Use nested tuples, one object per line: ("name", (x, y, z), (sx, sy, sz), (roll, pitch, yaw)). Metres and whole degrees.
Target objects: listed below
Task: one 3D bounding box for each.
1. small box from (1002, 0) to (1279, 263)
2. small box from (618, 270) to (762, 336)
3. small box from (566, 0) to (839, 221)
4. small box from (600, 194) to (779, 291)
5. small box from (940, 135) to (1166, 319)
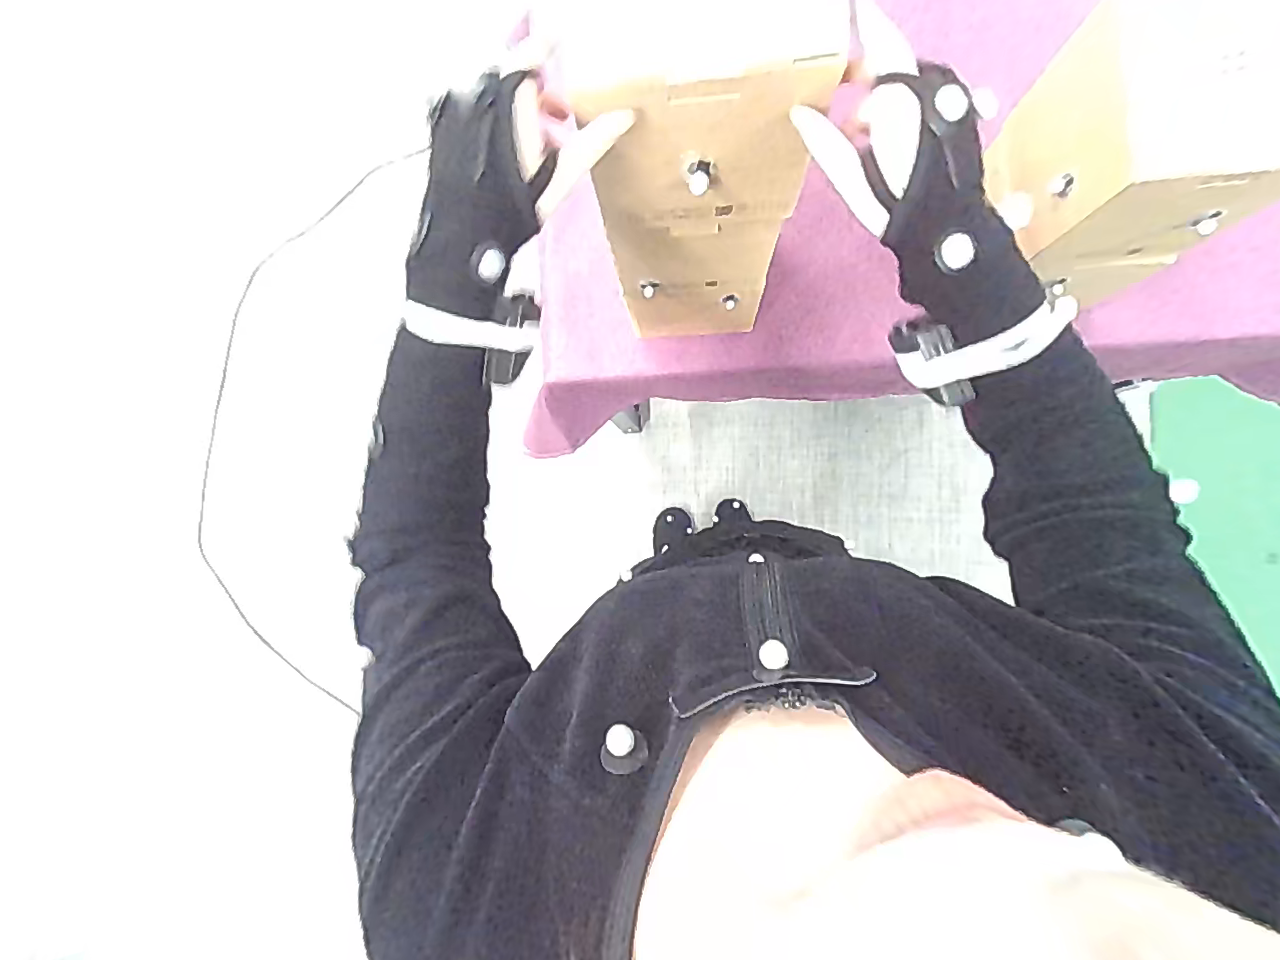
("small box", (0.487, -0.327, 0.527), (0.168, 0.176, 0.179), (-3, 86, 5))
("small box", (0.065, -0.302, 0.734), (0.179, 0.176, 0.168), (-2, 87, 5))
("small box", (0.042, -0.315, 0.406), (0.168, 0.176, 0.179), (-2, 87, 4))
("small box", (0.051, -0.313, 0.571), (0.168, 0.176, 0.179), (-3, 85, 5))
("small box", (0.503, -0.313, 0.689), (0.179, 0.176, 0.168), (0, 88, 6))
